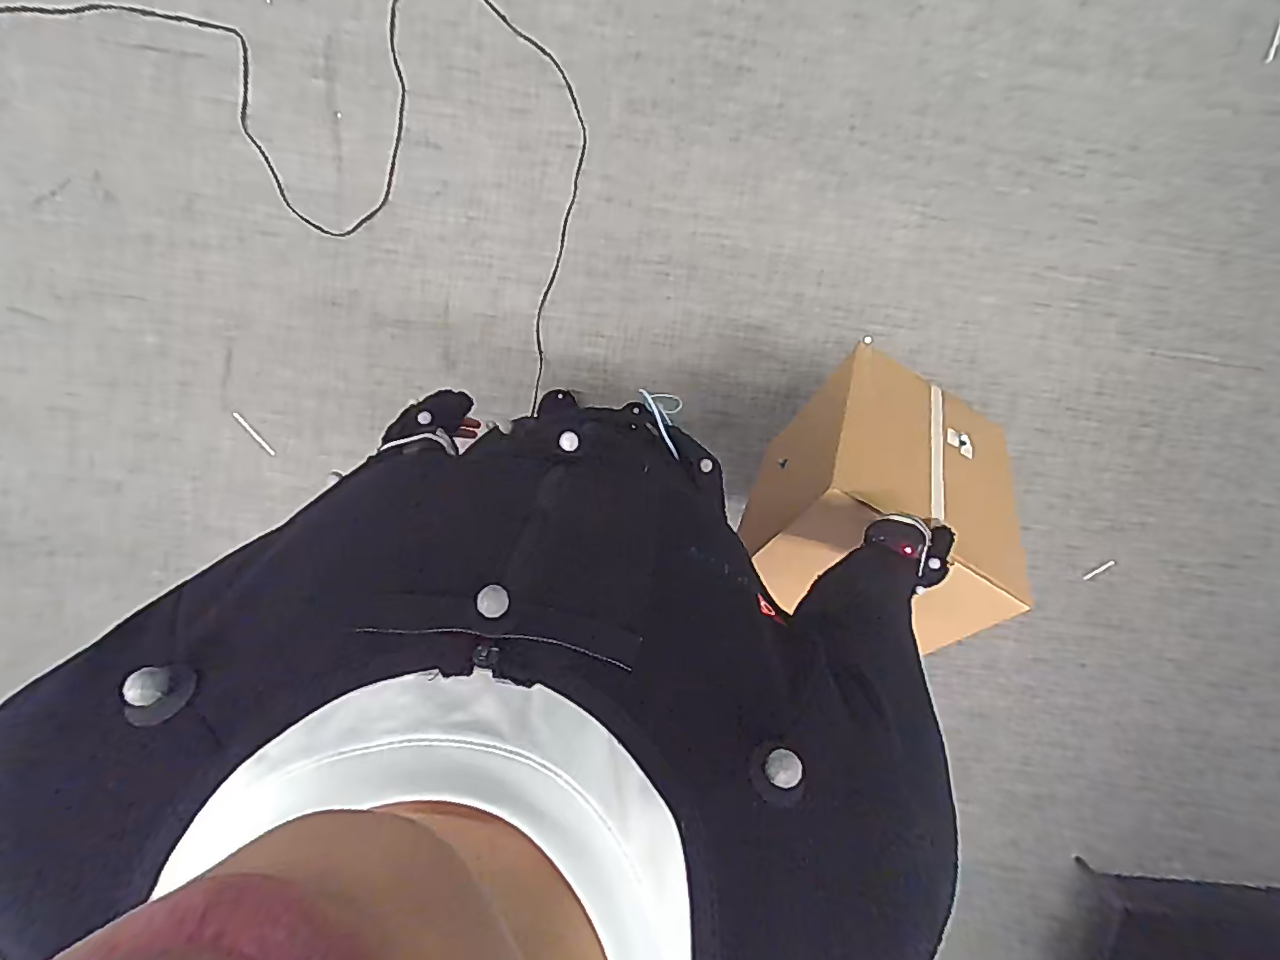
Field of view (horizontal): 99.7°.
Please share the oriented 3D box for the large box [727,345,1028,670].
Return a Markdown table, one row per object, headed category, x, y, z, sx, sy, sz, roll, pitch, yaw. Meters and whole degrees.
| category | x | y | z | sx | sy | sz | roll | pitch | yaw |
| --- | --- | --- | --- | --- | --- | --- | --- | --- | --- |
| large box | 0.393 | 0.045 | 0.947 | 0.320 | 0.408 | 0.320 | 32 | 137 | -2 |
